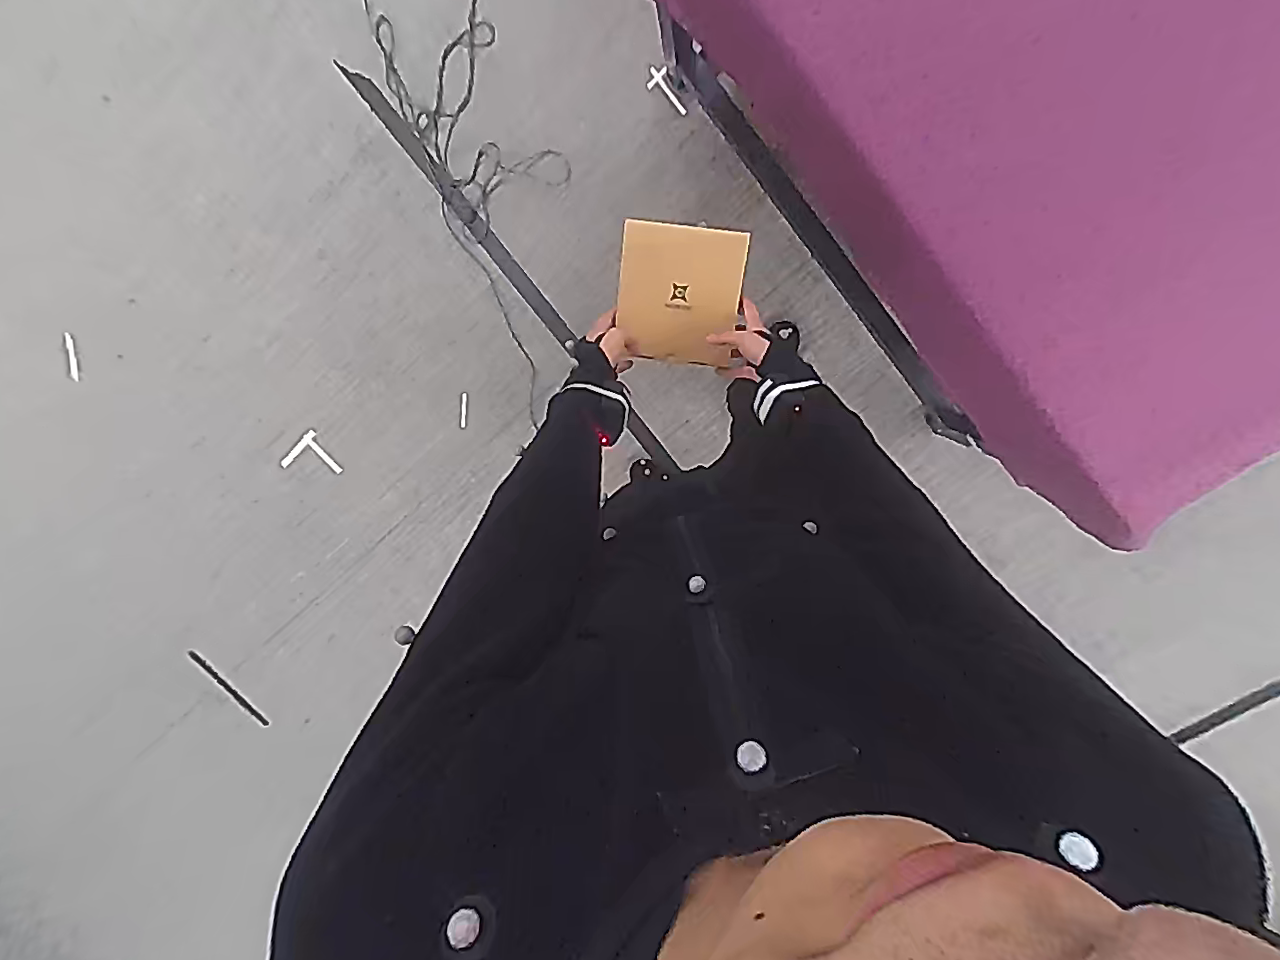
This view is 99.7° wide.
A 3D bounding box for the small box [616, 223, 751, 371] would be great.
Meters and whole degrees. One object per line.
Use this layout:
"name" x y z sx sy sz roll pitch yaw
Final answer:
"small box" 0.058 -0.271 0.806 0.168 0.176 0.179 7 110 0
